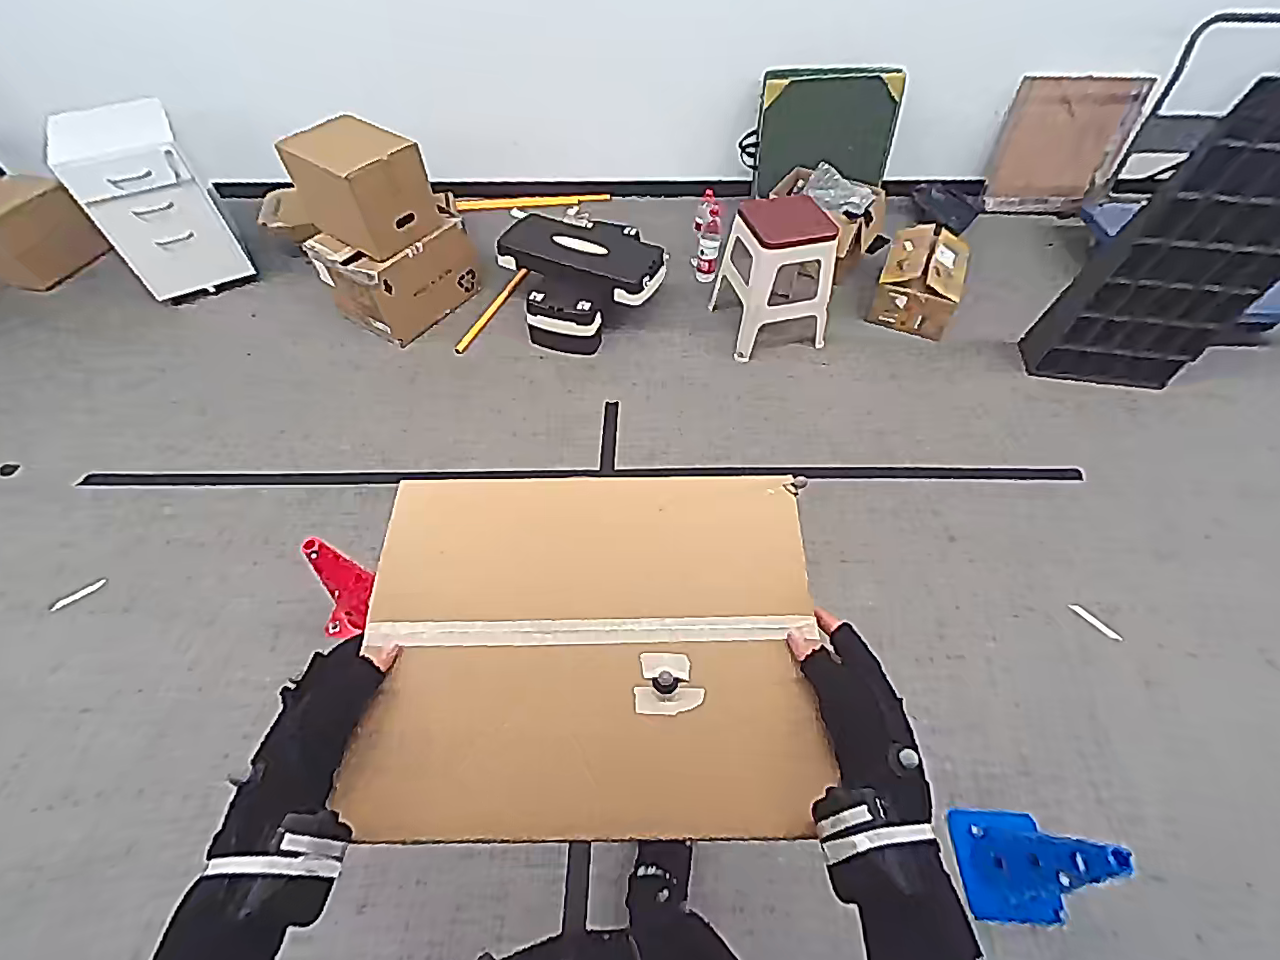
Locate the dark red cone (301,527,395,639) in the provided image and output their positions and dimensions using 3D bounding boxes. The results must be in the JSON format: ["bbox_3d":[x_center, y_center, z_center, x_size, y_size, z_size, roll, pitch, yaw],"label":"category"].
[{"bbox_3d":[-0.755,0.242,1.379,0.201,0.394,0.202,6,54,3],"label":"dark red cone"}]

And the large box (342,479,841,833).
[{"bbox_3d":[-0.041,0.208,0.626,0.408,0.320,0.320,0,62,0],"label":"large box"}]

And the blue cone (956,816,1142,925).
[{"bbox_3d":[0.801,0.748,1.046,0.192,0.380,0.193,4,54,2],"label":"blue cone"}]
